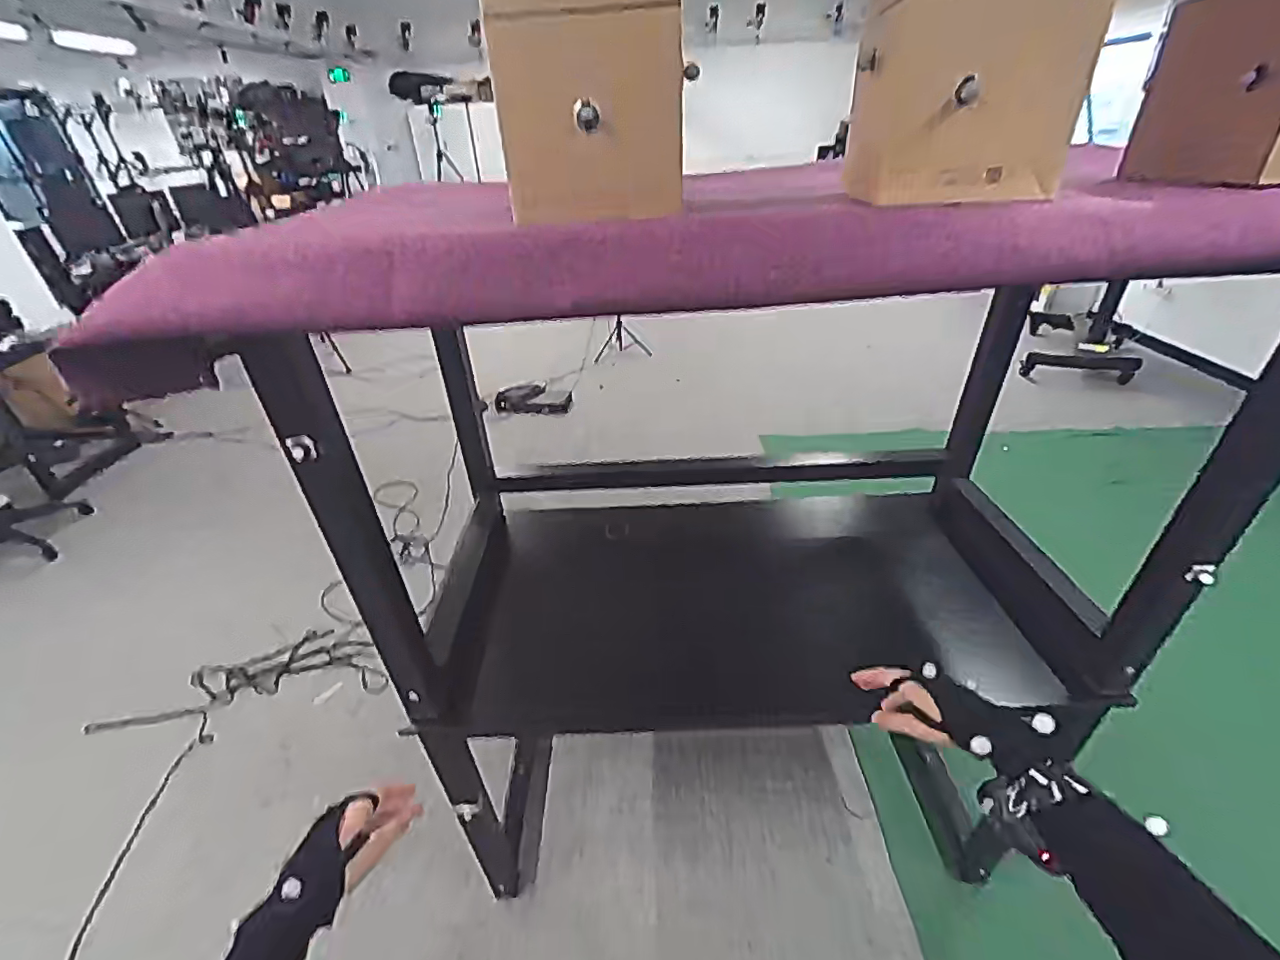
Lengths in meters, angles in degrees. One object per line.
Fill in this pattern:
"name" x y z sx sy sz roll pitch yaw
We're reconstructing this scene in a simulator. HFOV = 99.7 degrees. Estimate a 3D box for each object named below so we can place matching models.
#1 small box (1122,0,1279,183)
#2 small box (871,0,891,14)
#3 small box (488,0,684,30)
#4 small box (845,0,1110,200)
"small box" 0.662 -0.404 0.549 0.168 0.176 0.179 -3 31 0
"small box" 0.315 -0.524 0.464 0.168 0.176 0.179 1 32 6
"small box" -0.046 -0.519 0.480 0.179 0.176 0.168 -1 33 4
"small box" 0.320 -0.384 0.550 0.168 0.176 0.179 1 32 6
